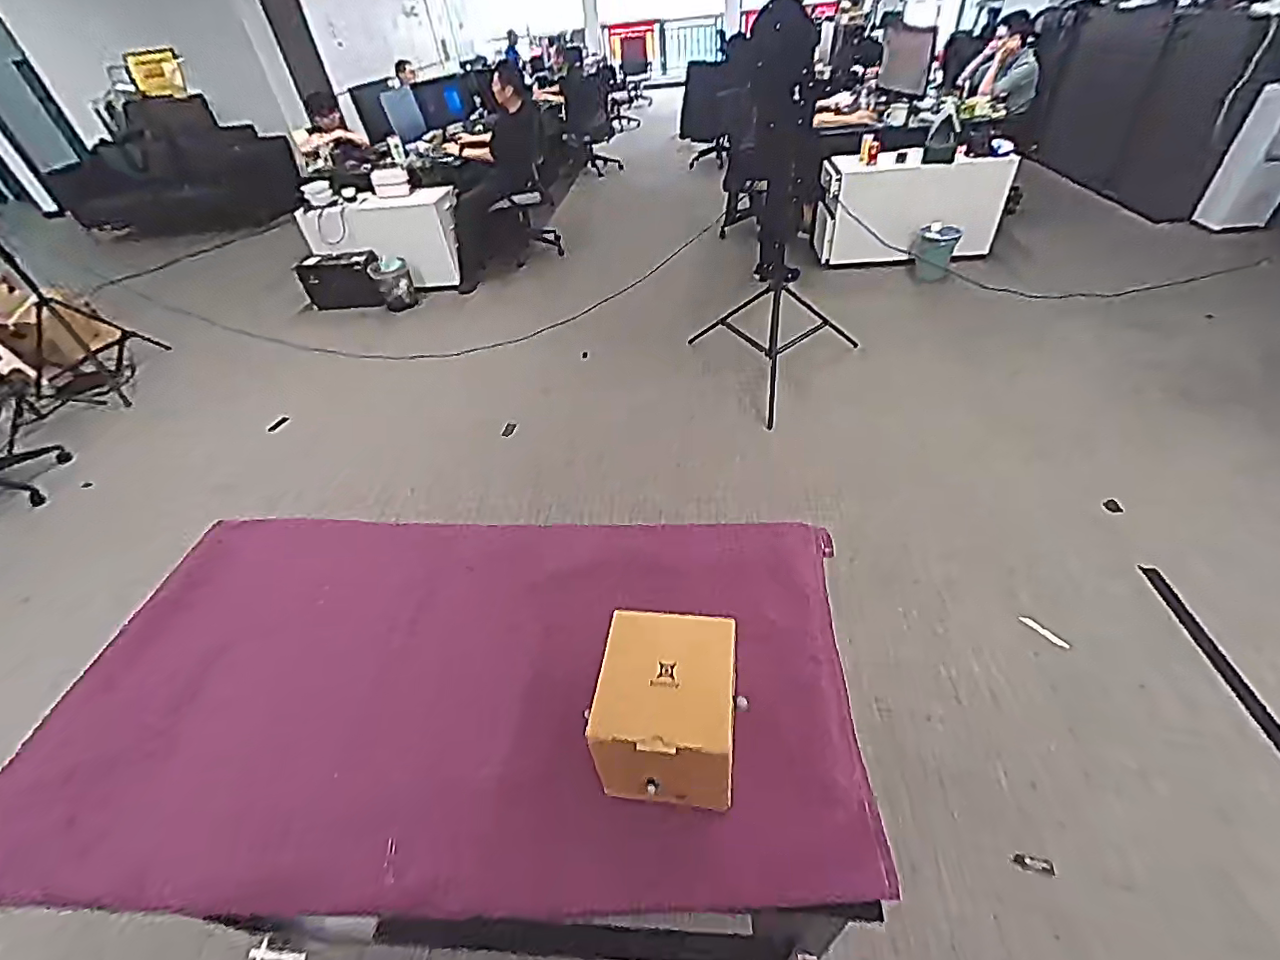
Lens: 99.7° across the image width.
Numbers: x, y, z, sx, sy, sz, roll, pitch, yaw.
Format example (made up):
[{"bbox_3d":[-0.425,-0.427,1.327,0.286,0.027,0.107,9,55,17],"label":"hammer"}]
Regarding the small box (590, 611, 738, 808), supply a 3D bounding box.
[{"bbox_3d":[0.041,0.299,0.715,0.168,0.176,0.179,1,41,10],"label":"small box"}]
